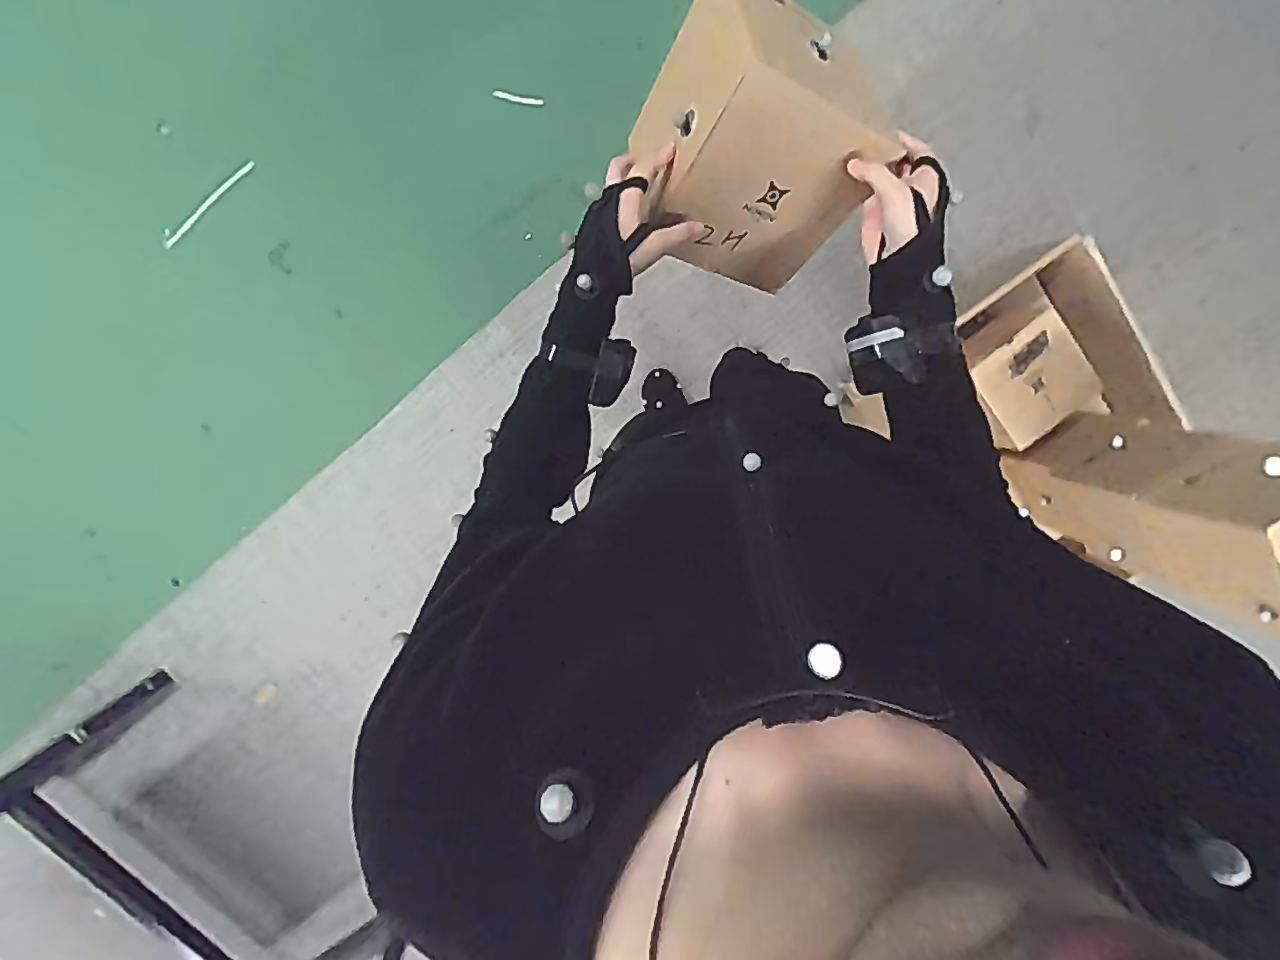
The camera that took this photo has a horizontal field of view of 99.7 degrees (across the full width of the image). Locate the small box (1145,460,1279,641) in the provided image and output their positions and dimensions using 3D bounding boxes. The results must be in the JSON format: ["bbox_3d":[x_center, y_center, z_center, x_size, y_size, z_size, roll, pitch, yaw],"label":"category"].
[{"bbox_3d":[0.815,0.087,0.692,0.168,0.176,0.179,-31,100,6],"label":"small box"}]

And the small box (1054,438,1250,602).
[{"bbox_3d":[0.814,0.052,0.850,0.168,0.176,0.179,-32,99,7],"label":"small box"}]

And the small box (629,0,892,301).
[{"bbox_3d":[0.097,-0.313,0.521,0.168,0.179,0.176,8,60,-26],"label":"small box"}]
